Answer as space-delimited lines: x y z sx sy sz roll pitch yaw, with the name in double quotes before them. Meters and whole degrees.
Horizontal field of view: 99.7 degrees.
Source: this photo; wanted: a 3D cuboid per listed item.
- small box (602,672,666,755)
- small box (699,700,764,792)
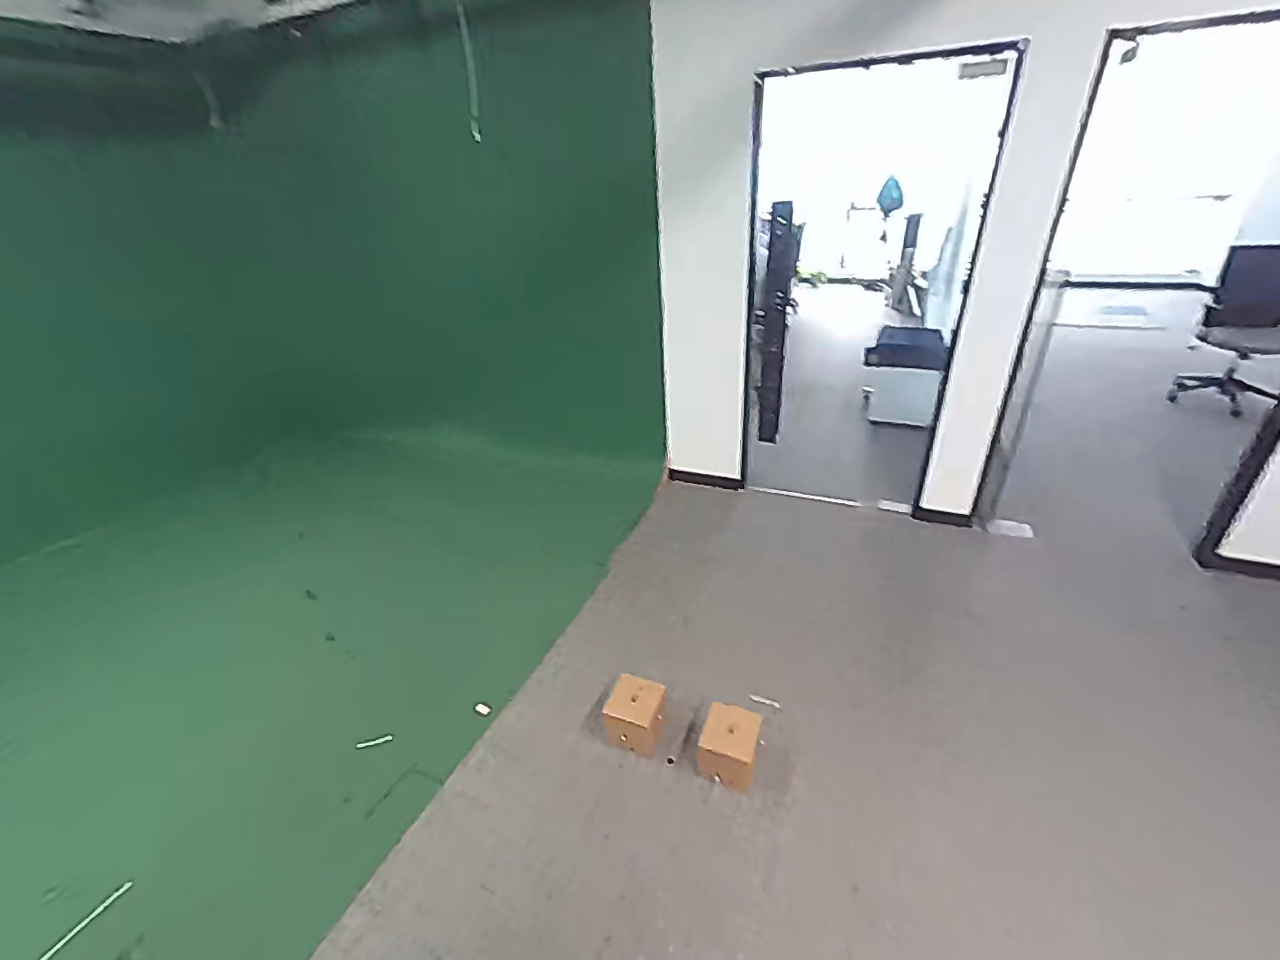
"small box" -0.012 0.798 1.842 0.168 0.176 0.179 10 32 22
"small box" 0.290 0.846 1.723 0.168 0.176 0.179 9 32 22
